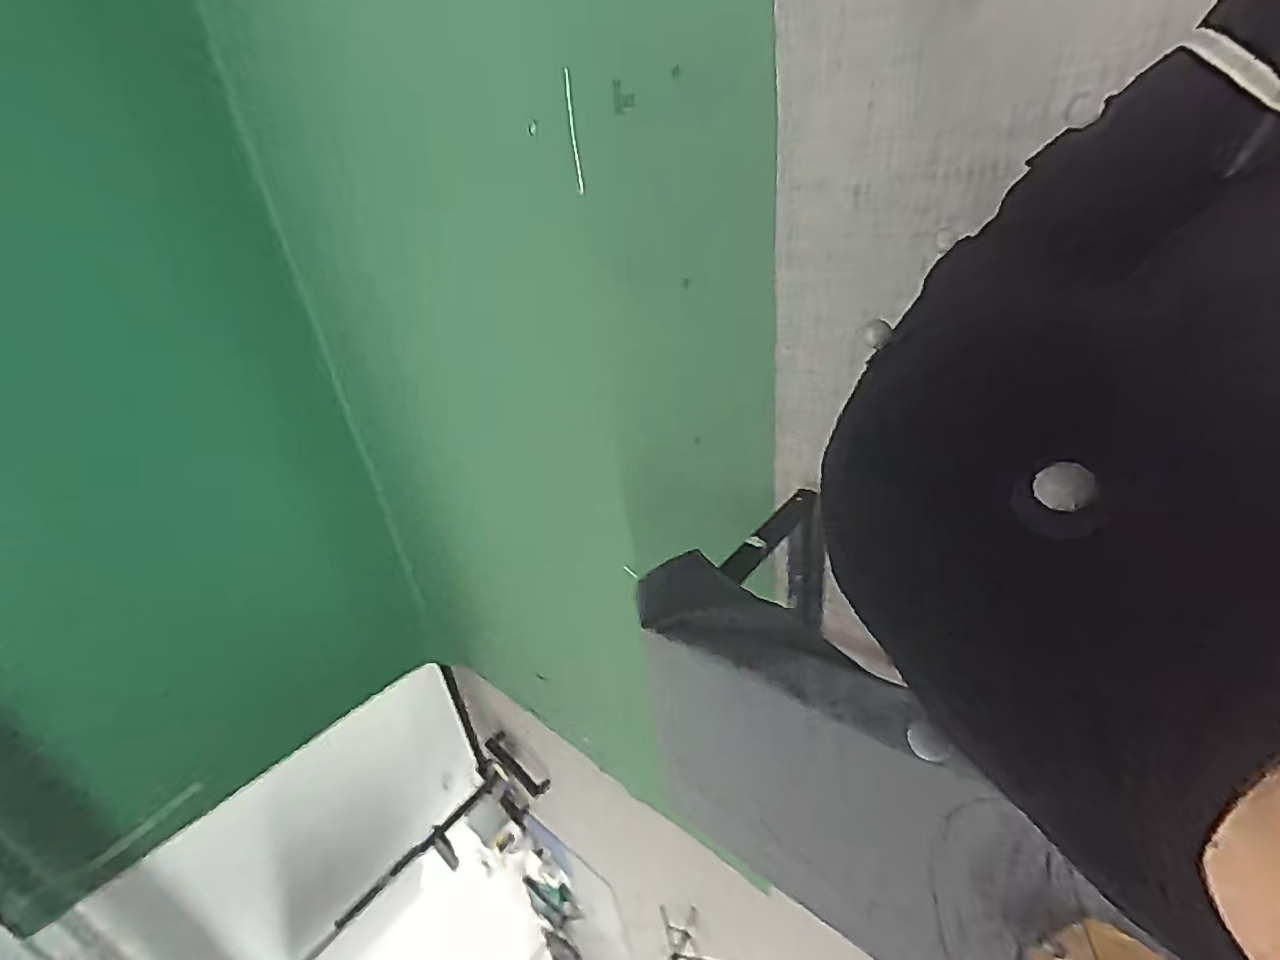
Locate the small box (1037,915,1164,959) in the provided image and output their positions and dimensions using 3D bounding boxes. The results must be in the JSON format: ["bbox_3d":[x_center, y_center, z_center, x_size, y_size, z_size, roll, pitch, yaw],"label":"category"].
[{"bbox_3d":[0.610,0.702,0.665,0.179,0.176,0.168,29,131,31],"label":"small box"}]
